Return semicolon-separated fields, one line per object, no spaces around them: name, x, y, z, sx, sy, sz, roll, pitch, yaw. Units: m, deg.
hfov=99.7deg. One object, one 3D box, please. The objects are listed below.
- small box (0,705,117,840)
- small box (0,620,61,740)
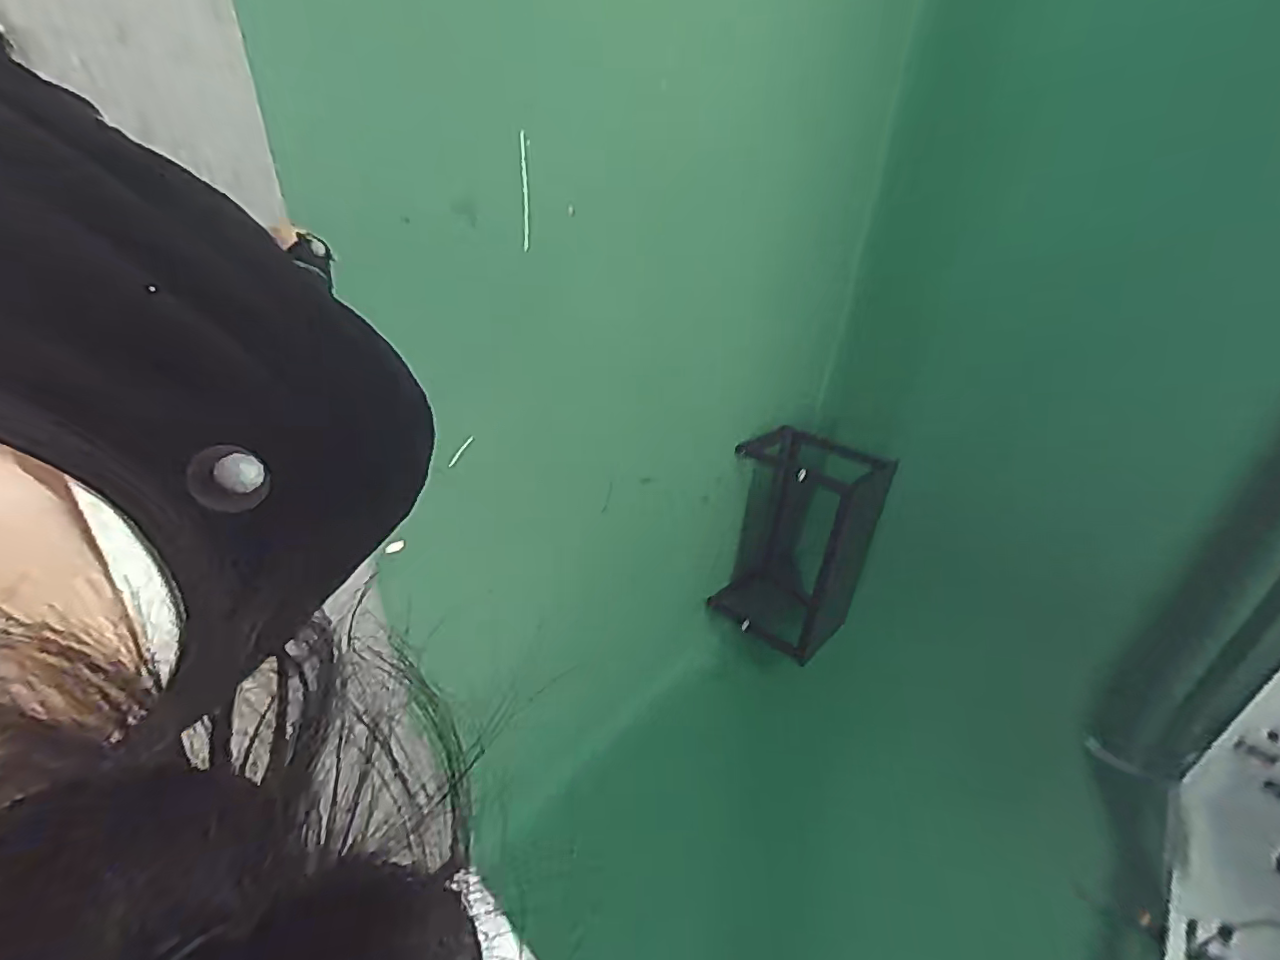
small box;-1.316;0.634;1.201;0.168;0.176;0.179;-23;129;-41
small box;-1.299;0.402;1.073;0.168;0.176;0.179;-19;126;-44
